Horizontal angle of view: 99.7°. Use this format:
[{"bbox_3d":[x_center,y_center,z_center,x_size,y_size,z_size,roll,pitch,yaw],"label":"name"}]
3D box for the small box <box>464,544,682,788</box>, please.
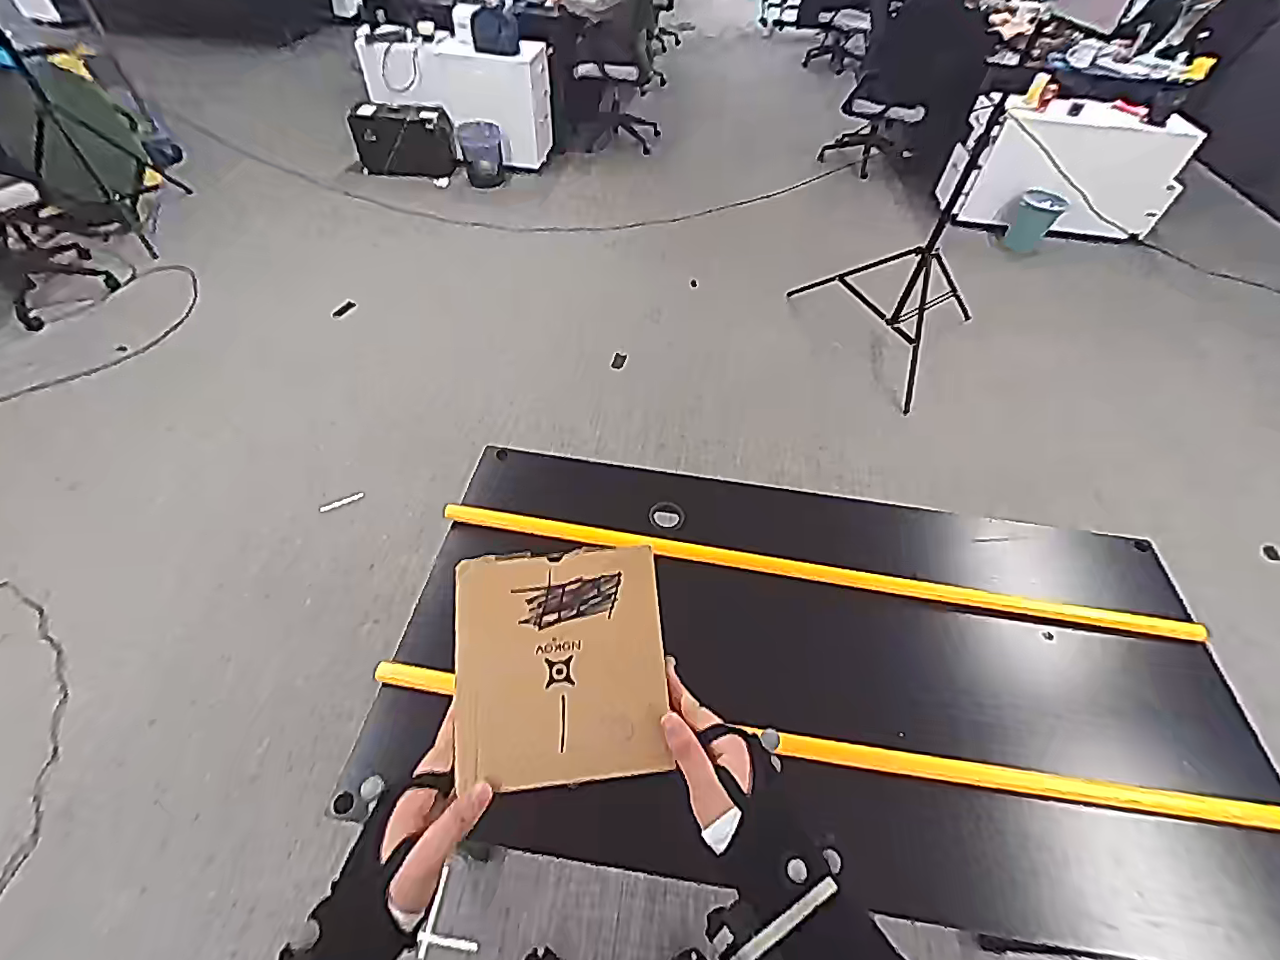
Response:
[{"bbox_3d":[-0.060,0.171,0.508,0.168,0.176,0.179,-5,69,-4],"label":"small box"}]
